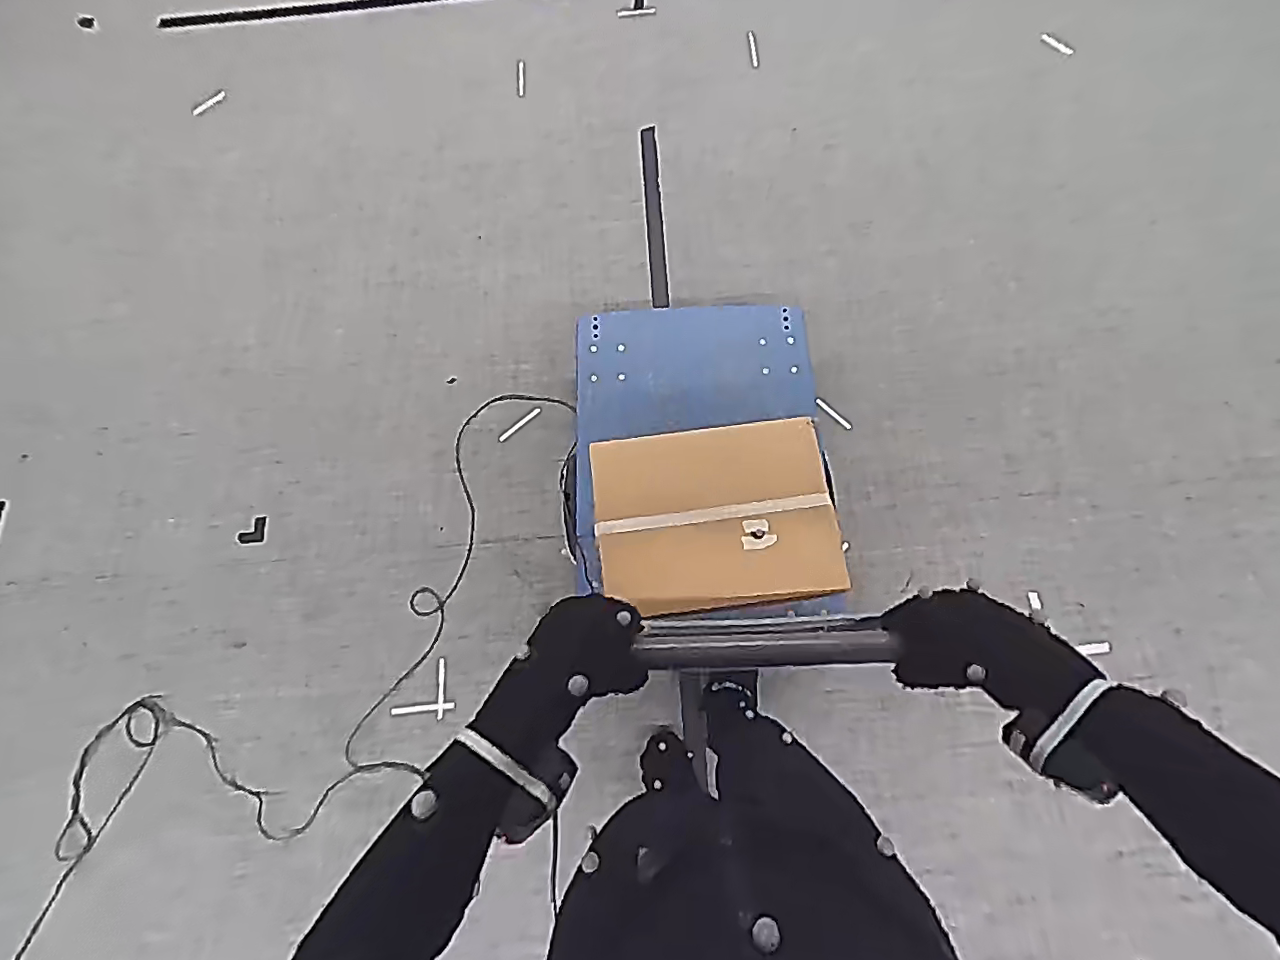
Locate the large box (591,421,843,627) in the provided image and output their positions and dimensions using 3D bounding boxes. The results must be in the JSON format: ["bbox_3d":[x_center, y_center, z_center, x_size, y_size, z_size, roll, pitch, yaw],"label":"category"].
[{"bbox_3d":[0.128,0.106,1.089,0.408,0.320,0.320,-7,74,-1],"label":"large box"}]
